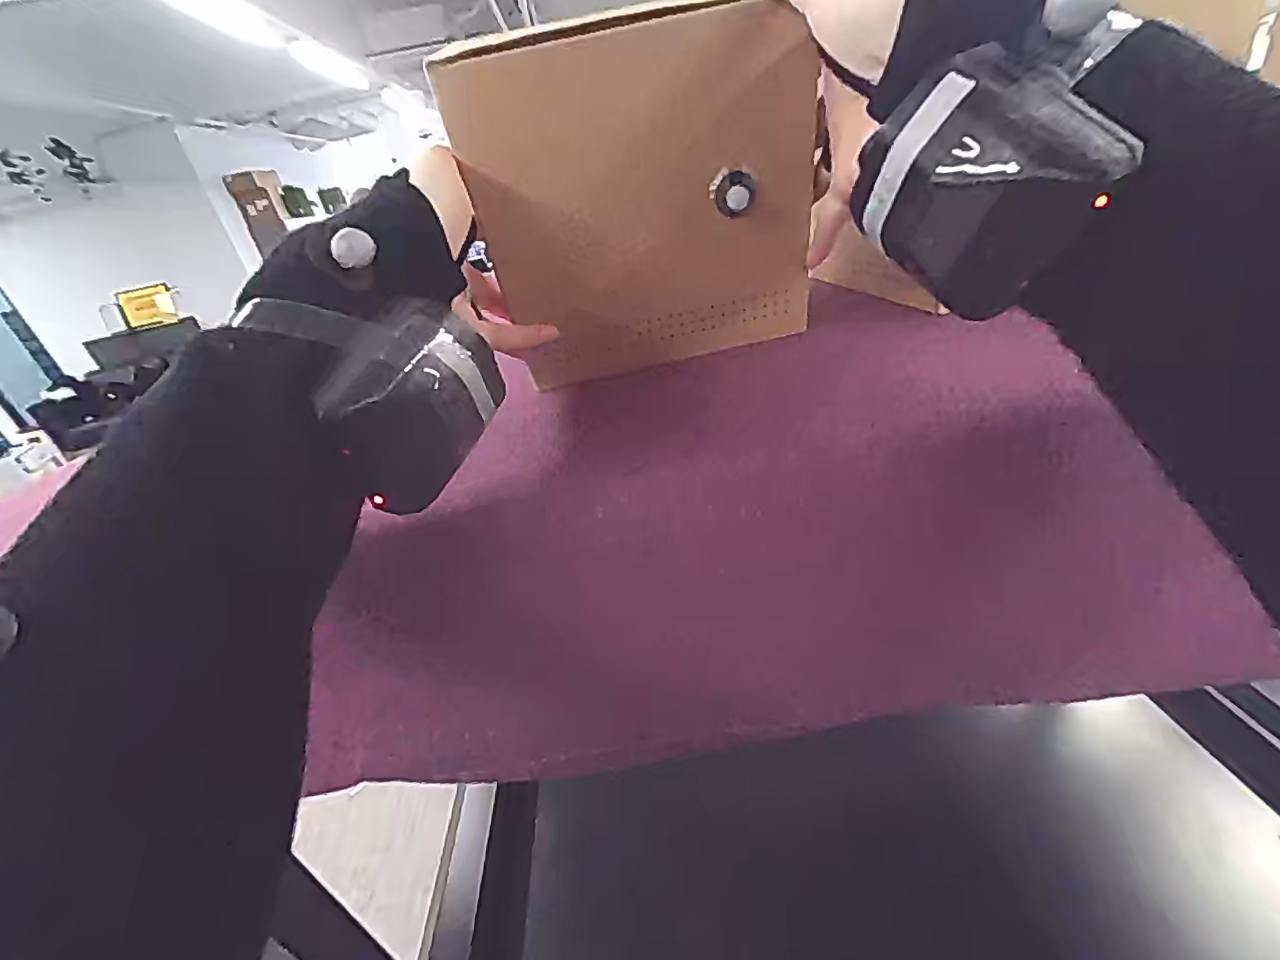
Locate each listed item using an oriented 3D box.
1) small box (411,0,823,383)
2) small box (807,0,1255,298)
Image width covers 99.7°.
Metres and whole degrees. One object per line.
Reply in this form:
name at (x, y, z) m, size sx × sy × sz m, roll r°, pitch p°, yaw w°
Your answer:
small box at (-0.008, -0.183, 0.332) m, size 0.179 × 0.176 × 0.168 m, roll -13°, pitch 41°, yaw 0°
small box at (0.219, -0.222, 0.340) m, size 0.168 × 0.176 × 0.179 m, roll -14°, pitch 28°, yaw -3°
